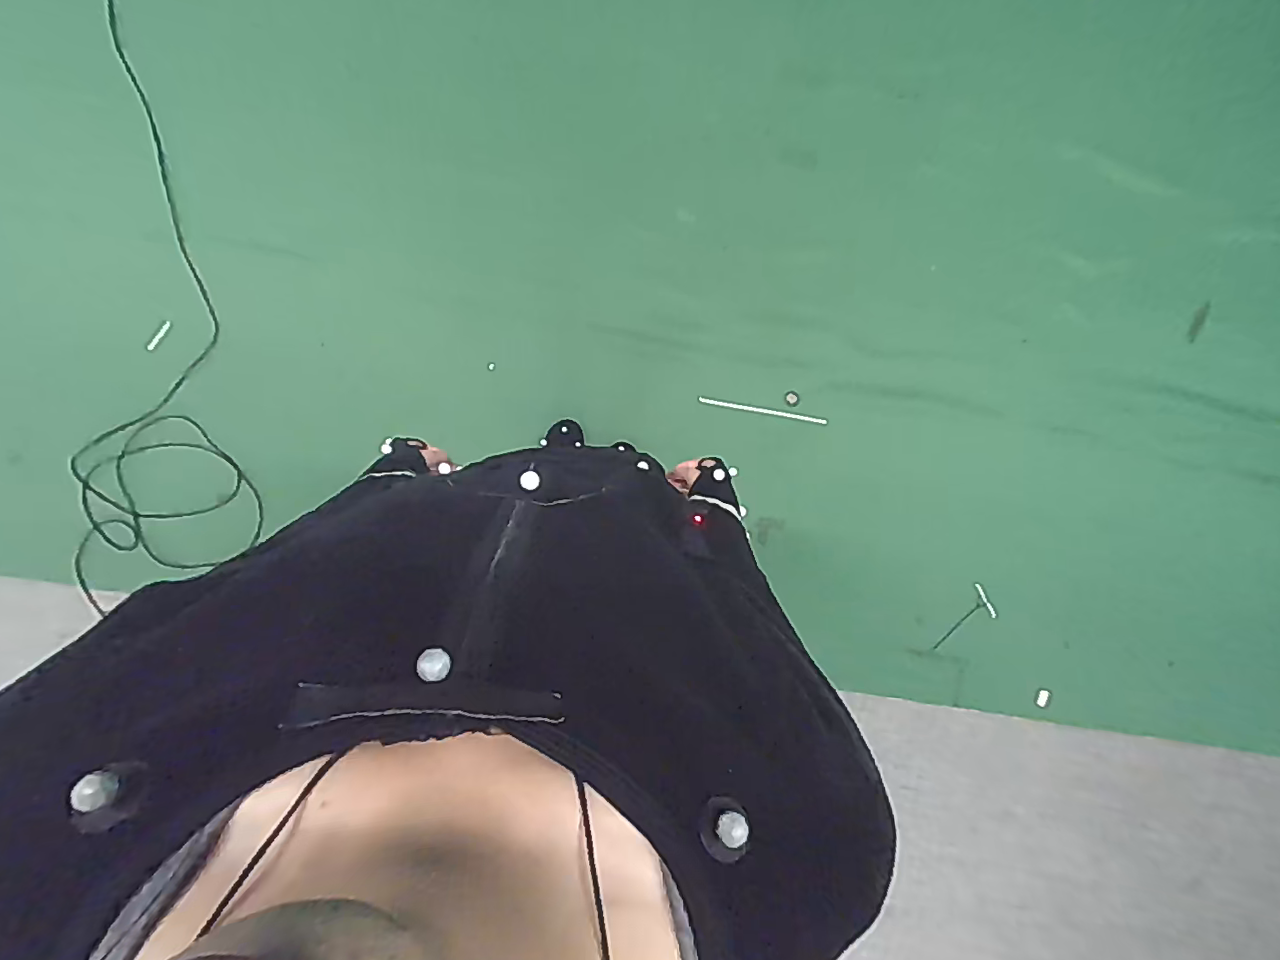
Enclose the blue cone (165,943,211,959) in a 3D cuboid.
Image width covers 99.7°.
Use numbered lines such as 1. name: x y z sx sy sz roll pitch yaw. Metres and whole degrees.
1. blue cone: -1.245 1.418 1.340 0.193 0.380 0.192 -35 99 1
